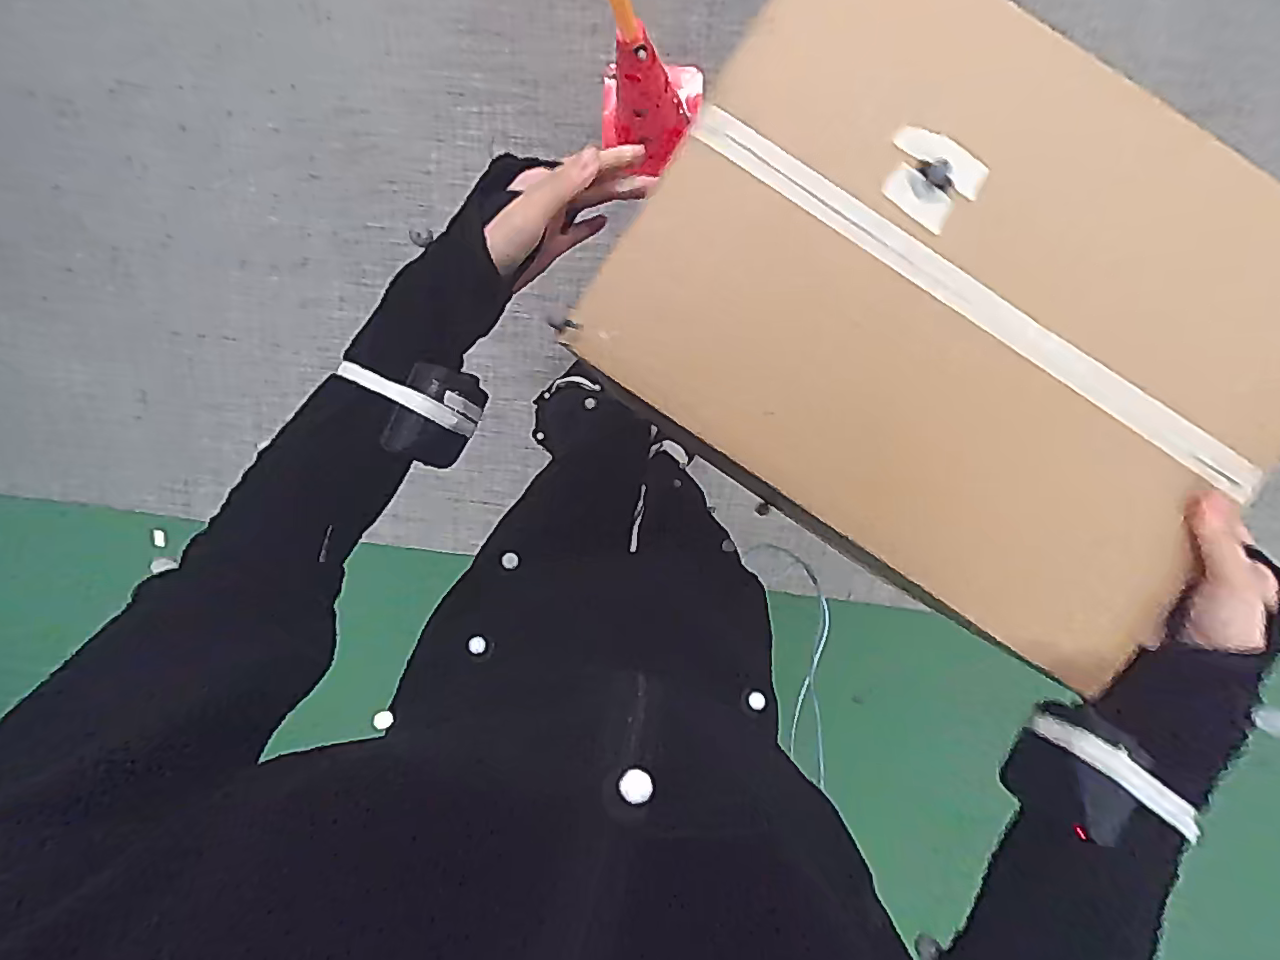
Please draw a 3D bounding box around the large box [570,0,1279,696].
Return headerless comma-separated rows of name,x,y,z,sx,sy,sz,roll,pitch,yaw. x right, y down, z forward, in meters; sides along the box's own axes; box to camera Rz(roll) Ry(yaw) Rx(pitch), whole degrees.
large box,0.212,-0.097,0.495,0.408,0.320,0.320,35,94,2
